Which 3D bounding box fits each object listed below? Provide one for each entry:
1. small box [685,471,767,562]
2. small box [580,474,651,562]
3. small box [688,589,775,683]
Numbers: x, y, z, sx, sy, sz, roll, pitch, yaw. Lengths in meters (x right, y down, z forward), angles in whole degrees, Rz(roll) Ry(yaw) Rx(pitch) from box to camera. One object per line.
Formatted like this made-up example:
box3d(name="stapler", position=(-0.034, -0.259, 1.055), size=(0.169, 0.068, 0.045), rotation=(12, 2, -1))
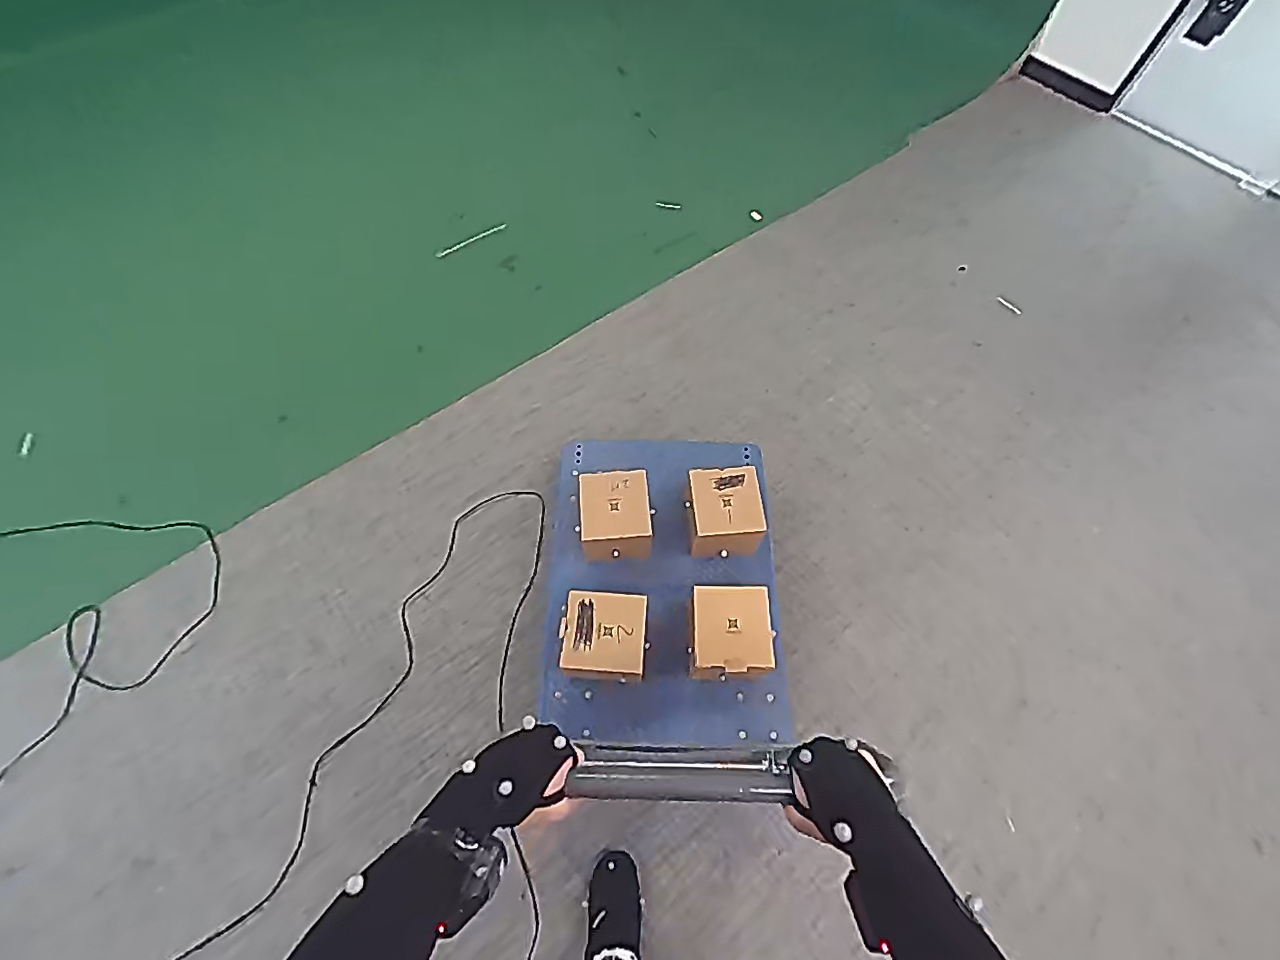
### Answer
box3d(name="small box", position=(0.209, 0.094, 1.362), size=(0.168, 0.176, 0.179), rotation=(-4, 64, -2))
box3d(name="small box", position=(-0.061, 0.102, 1.354), size=(0.168, 0.176, 0.179), rotation=(-3, 63, -3))
box3d(name="small box", position=(0.199, 0.358, 1.228), size=(0.168, 0.176, 0.179), rotation=(1, 64, 0))
